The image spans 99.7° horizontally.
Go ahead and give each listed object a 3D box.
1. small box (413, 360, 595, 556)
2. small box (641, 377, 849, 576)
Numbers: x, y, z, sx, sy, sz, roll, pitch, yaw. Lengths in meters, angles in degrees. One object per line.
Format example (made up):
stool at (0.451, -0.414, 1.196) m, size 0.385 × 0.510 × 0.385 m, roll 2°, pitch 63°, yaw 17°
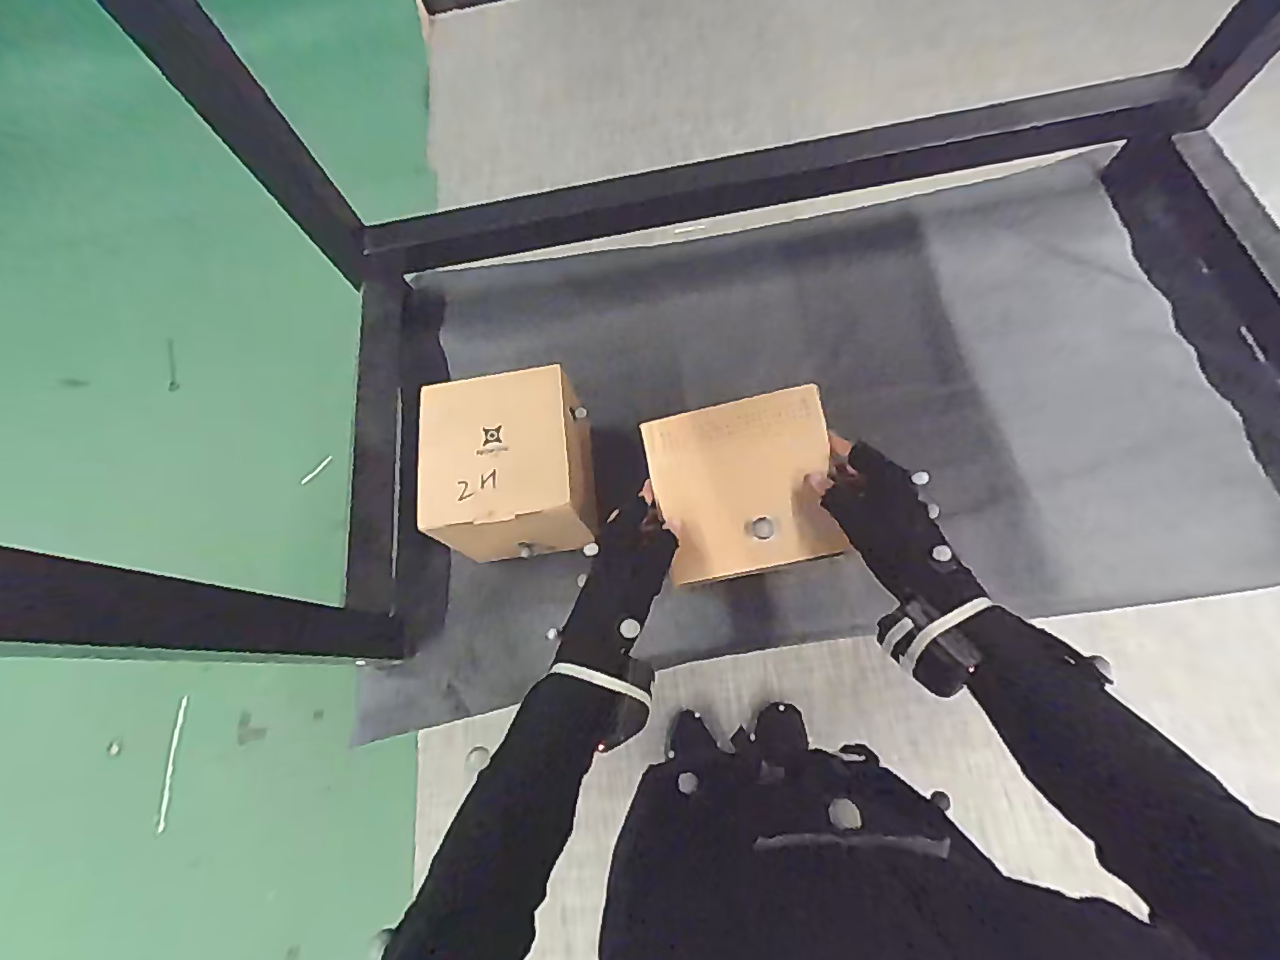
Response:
small box at (-0.155, -0.019, 0.662) m, size 0.168 × 0.176 × 0.179 m, roll -9°, pitch 69°, yaw 4°
small box at (0.103, 0.006, 0.593) m, size 0.179 × 0.168 × 0.176 m, roll -13°, pitch 80°, yaw 6°
